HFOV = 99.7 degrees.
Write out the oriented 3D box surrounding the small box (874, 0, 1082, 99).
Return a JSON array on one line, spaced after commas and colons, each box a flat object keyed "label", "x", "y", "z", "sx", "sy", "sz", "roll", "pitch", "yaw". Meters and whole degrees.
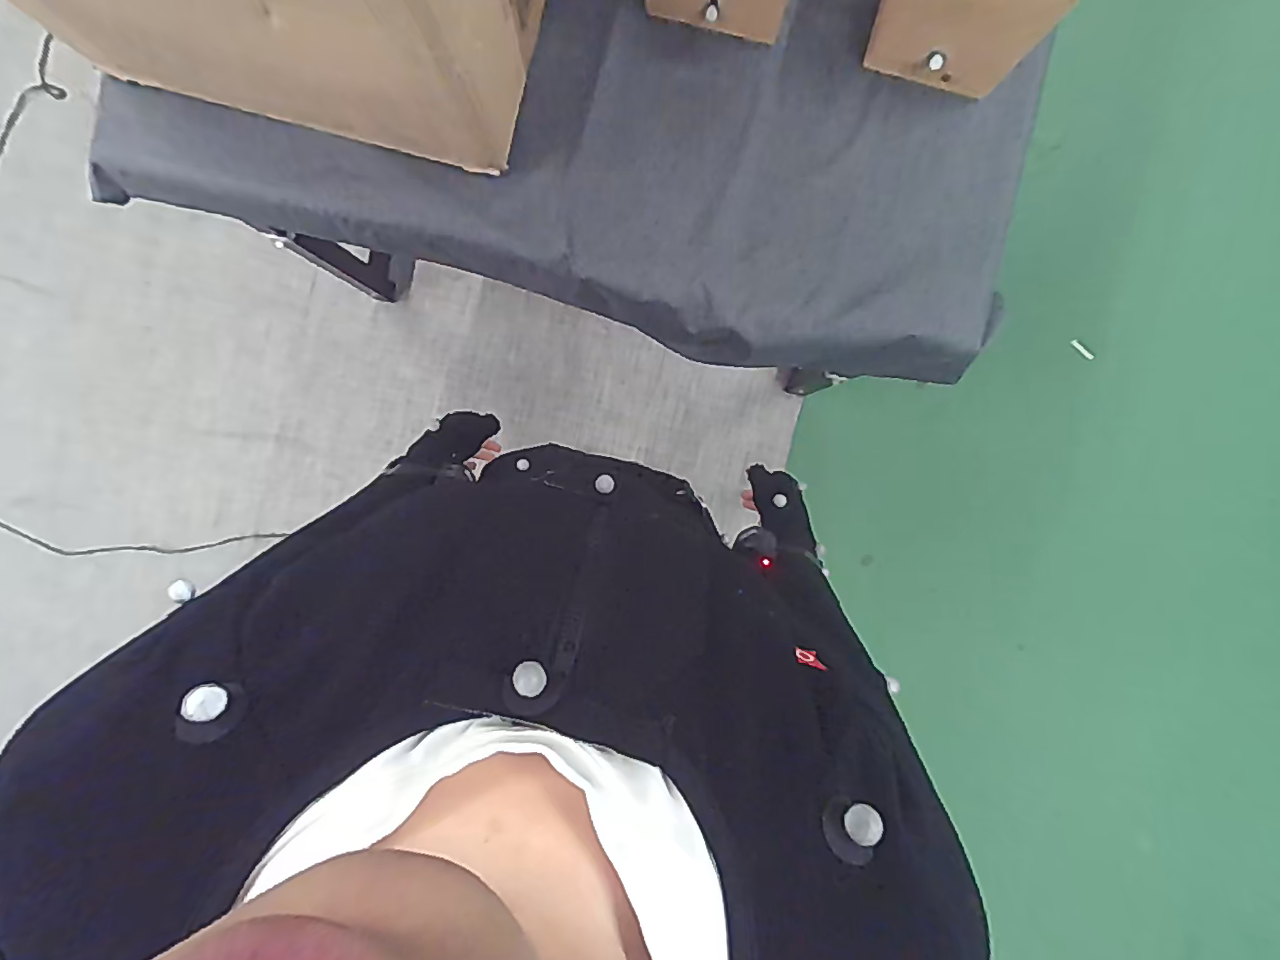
[{"label": "small box", "x": 0.403, "y": -0.604, "z": 0.634, "sx": 0.168, "sy": 0.176, "sz": 0.179, "roll": 16, "pitch": 93, "yaw": -1}]
